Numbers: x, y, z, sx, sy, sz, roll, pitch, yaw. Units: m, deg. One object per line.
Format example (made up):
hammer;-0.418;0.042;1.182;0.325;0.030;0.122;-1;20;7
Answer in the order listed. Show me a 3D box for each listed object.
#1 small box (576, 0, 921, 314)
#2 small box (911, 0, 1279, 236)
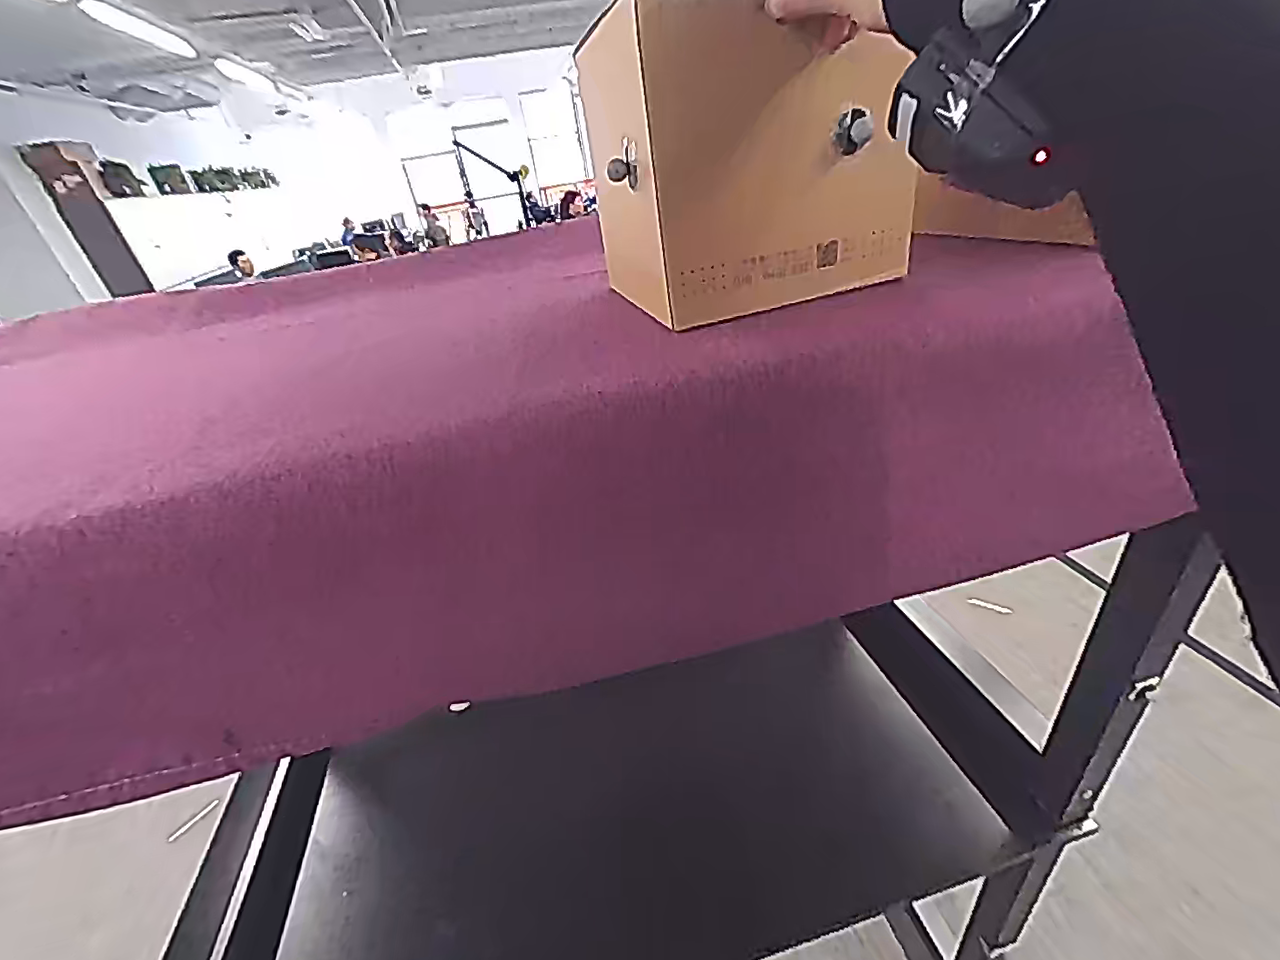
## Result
small box;0.065;-0.221;0.371;0.168;0.176;0.179;-15;30;-10
small box;0.324;-0.280;0.388;0.168;0.176;0.179;-19;31;-13
